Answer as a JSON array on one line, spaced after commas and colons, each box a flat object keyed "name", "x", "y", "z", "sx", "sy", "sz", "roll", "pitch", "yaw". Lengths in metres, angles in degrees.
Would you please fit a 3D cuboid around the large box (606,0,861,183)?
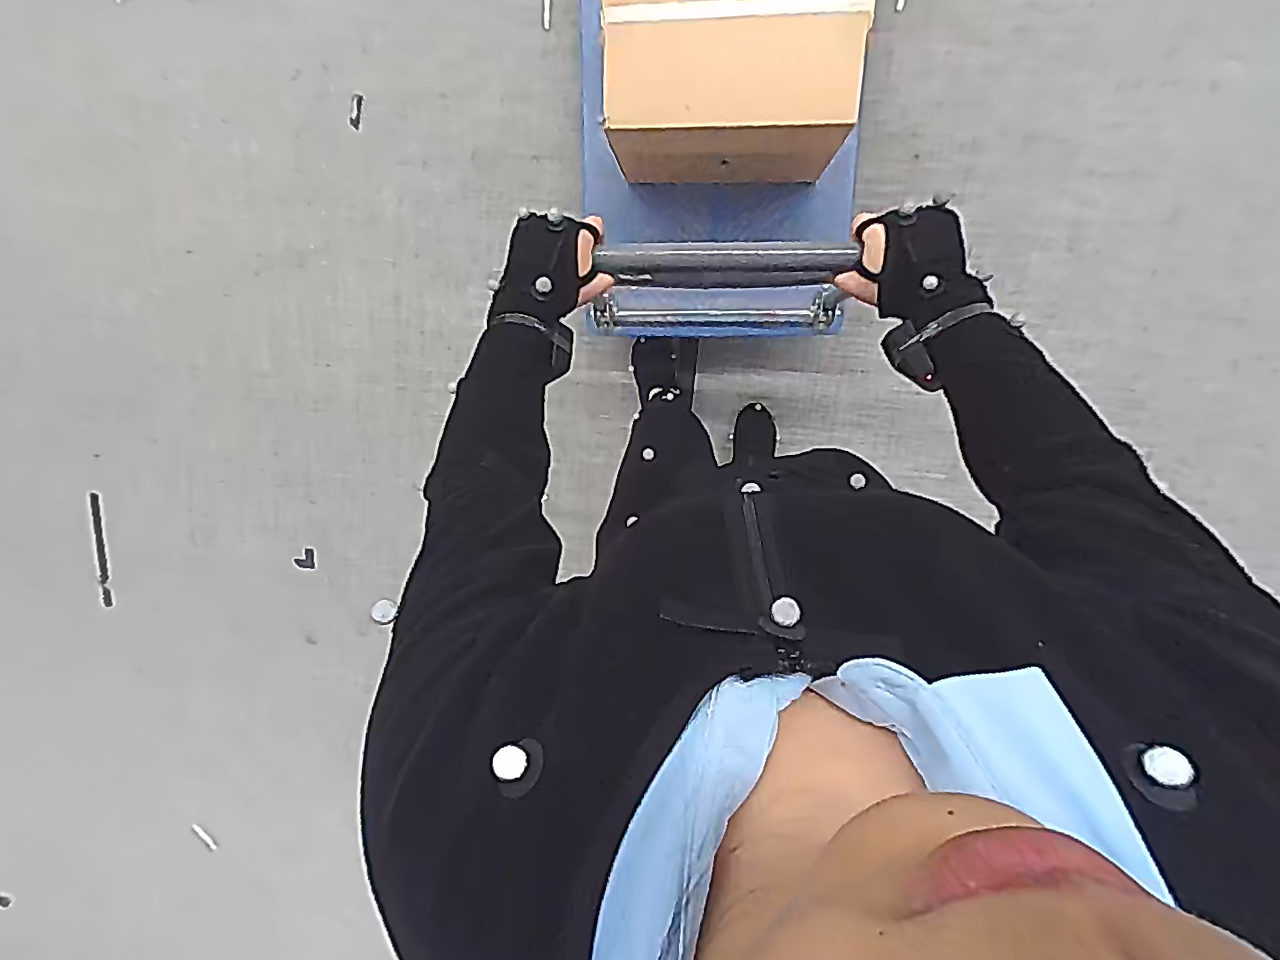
[{"name": "large box", "x": 0.161, "y": -0.760, "z": 0.993, "sx": 0.408, "sy": 0.320, "sz": 0.320, "roll": 2, "pitch": 103, "yaw": 7}]
